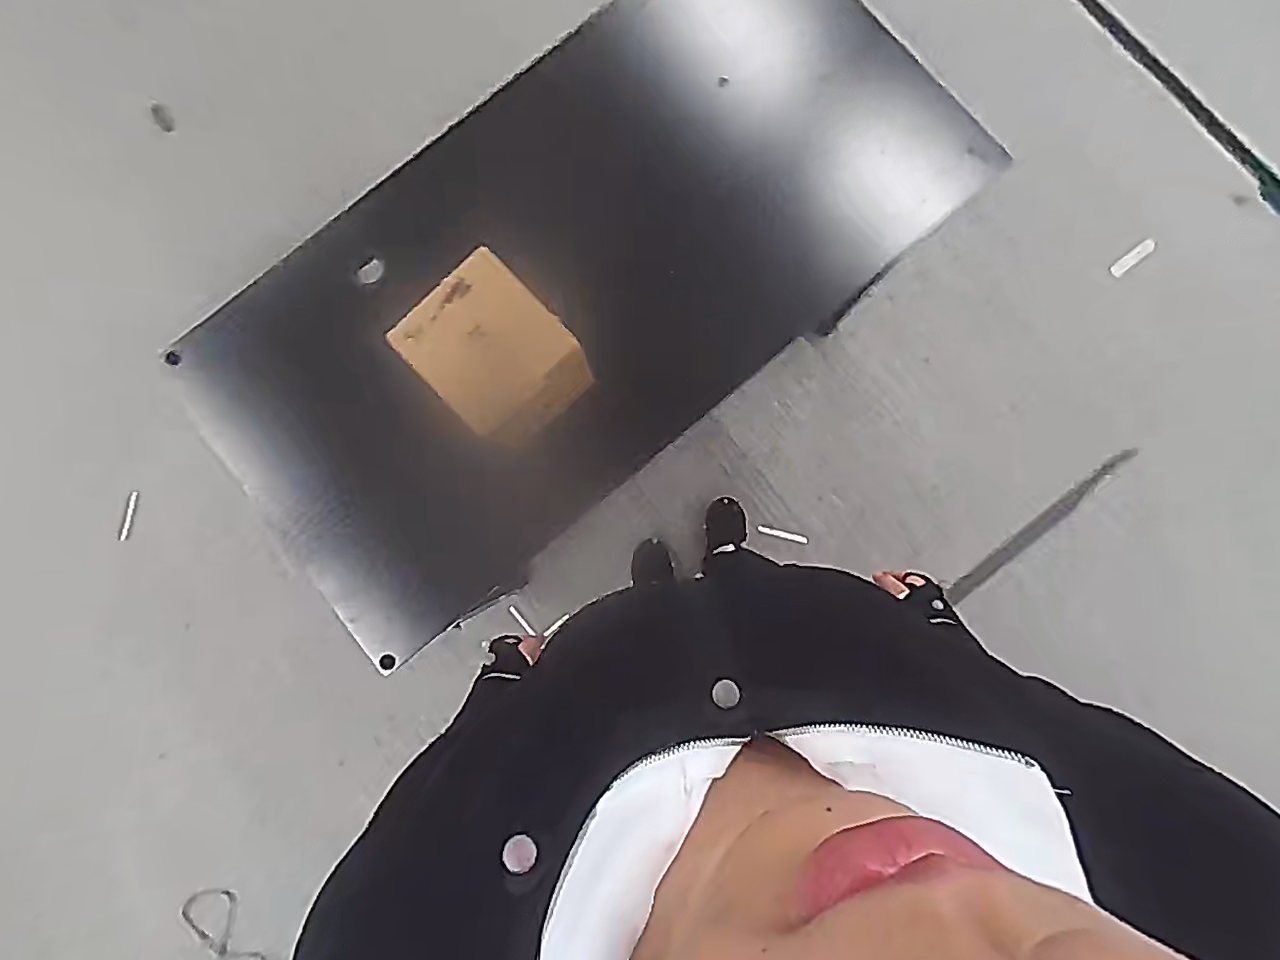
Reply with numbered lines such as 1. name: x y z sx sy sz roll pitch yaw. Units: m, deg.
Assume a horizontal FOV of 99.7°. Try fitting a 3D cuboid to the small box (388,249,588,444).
1. small box: -0.189 -0.163 0.734 0.168 0.176 0.179 -44 86 -2
